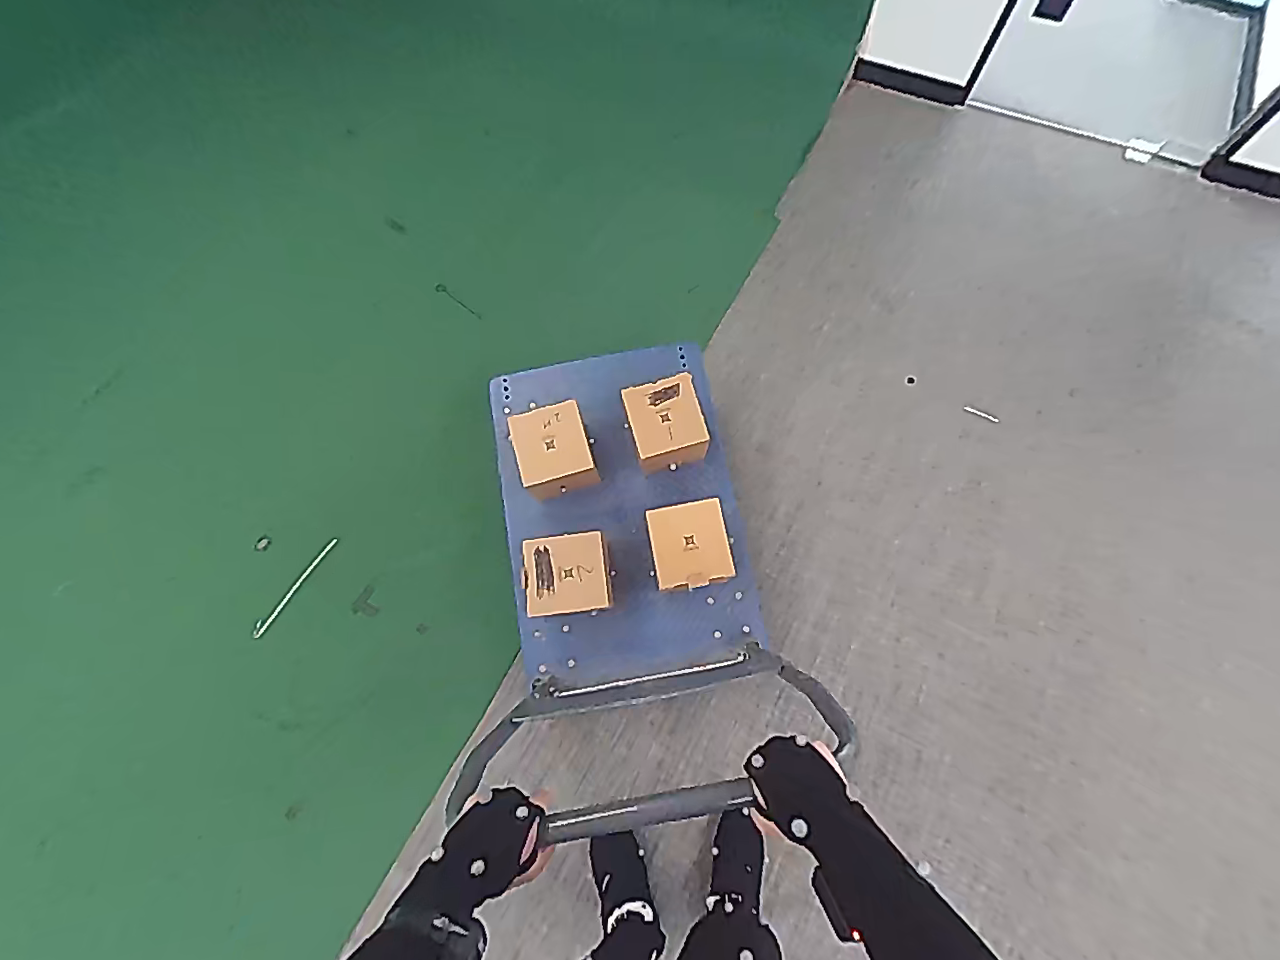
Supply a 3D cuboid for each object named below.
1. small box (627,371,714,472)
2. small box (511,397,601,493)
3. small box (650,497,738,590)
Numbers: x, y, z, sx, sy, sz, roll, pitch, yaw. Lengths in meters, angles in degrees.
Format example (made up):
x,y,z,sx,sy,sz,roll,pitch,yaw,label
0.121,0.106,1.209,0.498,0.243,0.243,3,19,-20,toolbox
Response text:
x,y,z,sx,sy,sz,roll,pitch,yaw,label
0.068,-0.135,1.307,0.168,0.176,0.179,-15,78,-2,small box
-0.194,-0.074,1.298,0.168,0.176,0.179,-15,77,-3,small box
0.116,0.150,1.240,0.168,0.176,0.179,-10,77,-1,small box
